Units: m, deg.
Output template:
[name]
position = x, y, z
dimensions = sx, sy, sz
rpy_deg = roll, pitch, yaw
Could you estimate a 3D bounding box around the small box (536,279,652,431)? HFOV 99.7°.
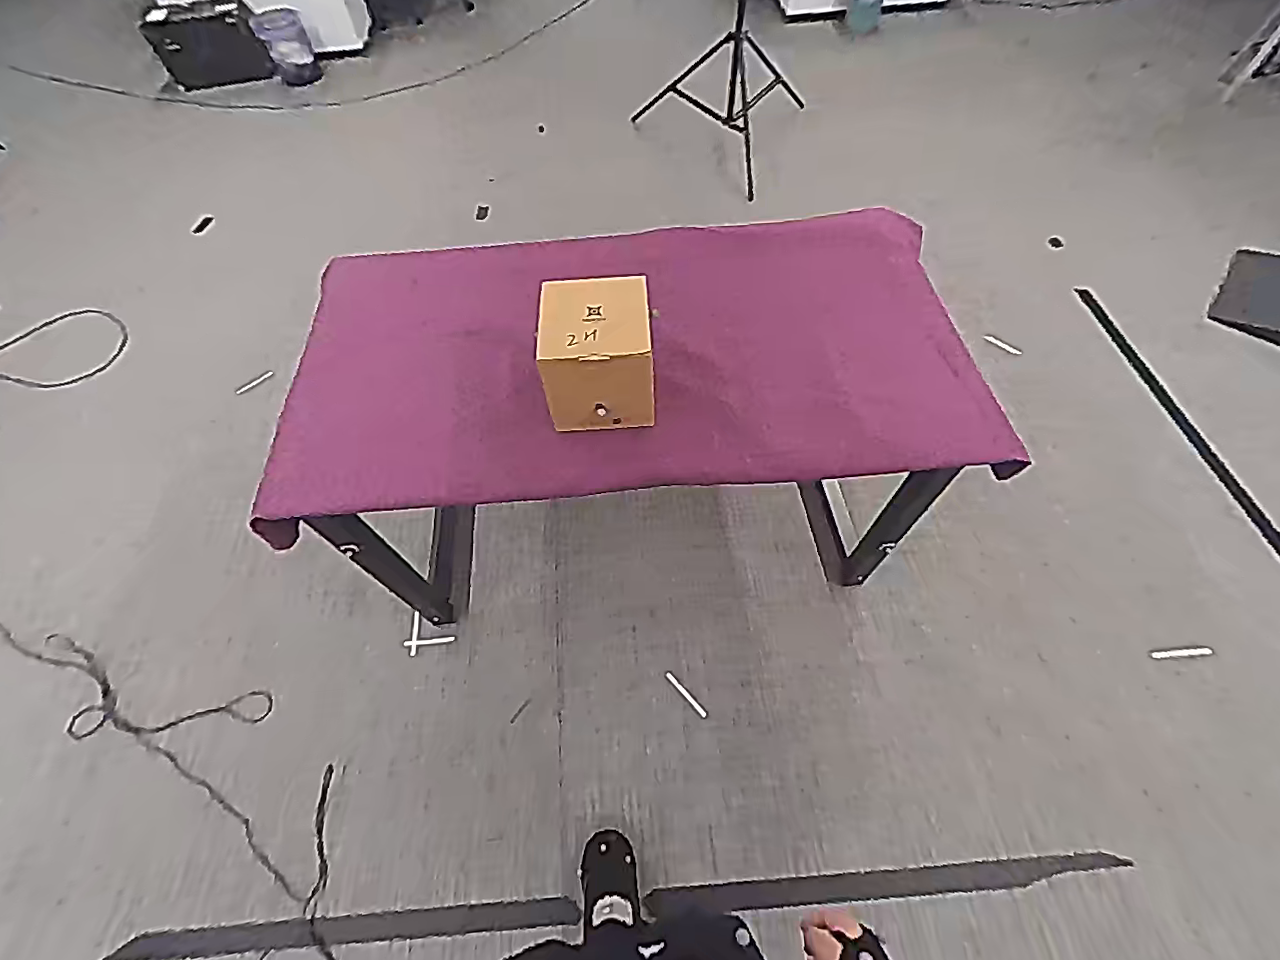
[small box]
position = -0.067, -0.200, 0.881
dimensions = 0.168, 0.176, 0.179
rpy_deg = -4, 58, 1
